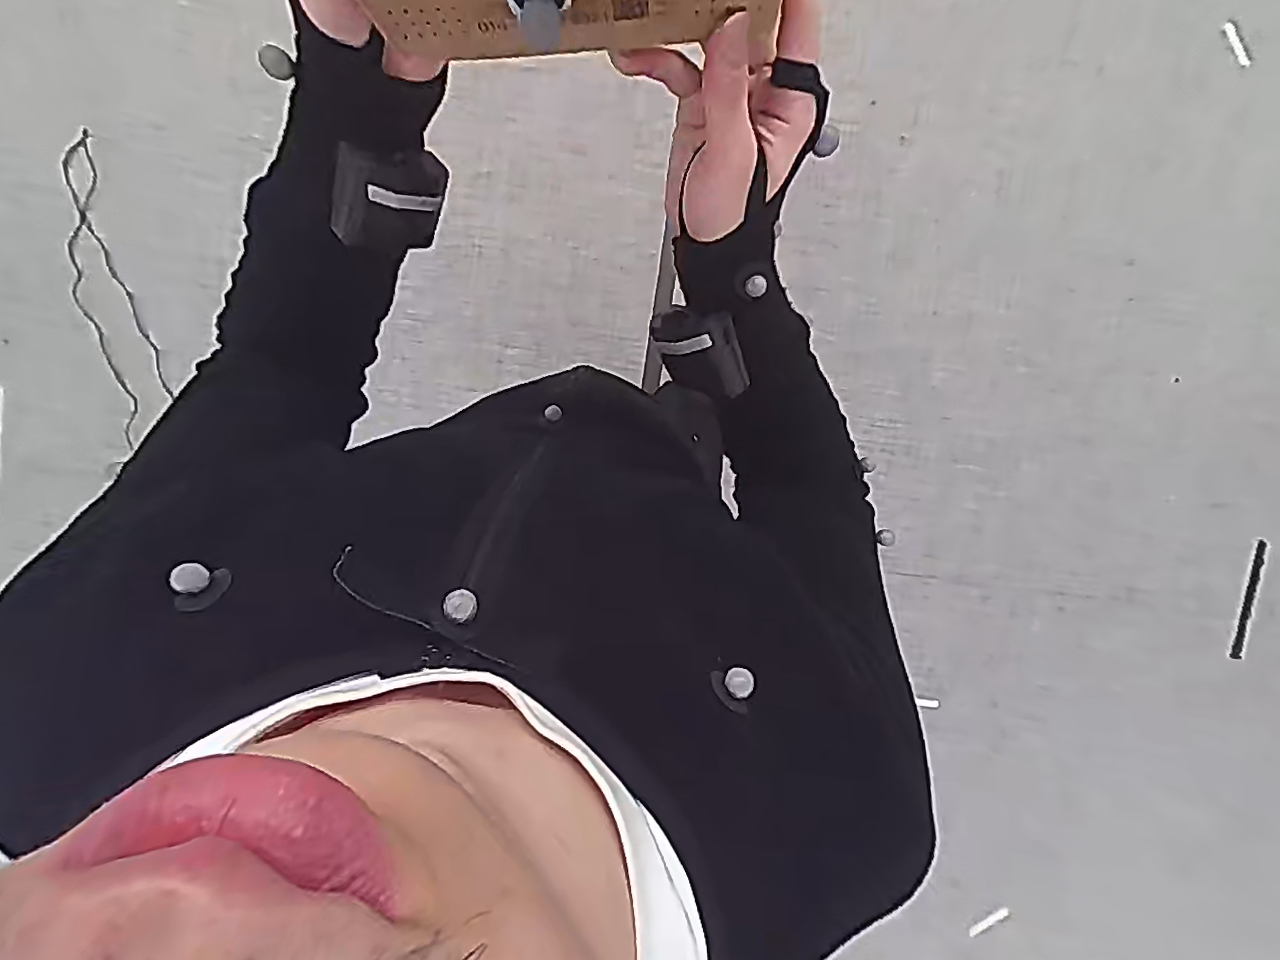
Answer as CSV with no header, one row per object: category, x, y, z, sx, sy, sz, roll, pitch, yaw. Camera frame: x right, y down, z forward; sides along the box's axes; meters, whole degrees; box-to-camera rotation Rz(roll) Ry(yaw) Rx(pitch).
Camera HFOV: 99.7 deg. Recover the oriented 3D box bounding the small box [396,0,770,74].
small box,-0.033,-0.274,0.164,0.168,0.176,0.179,-4,95,4
